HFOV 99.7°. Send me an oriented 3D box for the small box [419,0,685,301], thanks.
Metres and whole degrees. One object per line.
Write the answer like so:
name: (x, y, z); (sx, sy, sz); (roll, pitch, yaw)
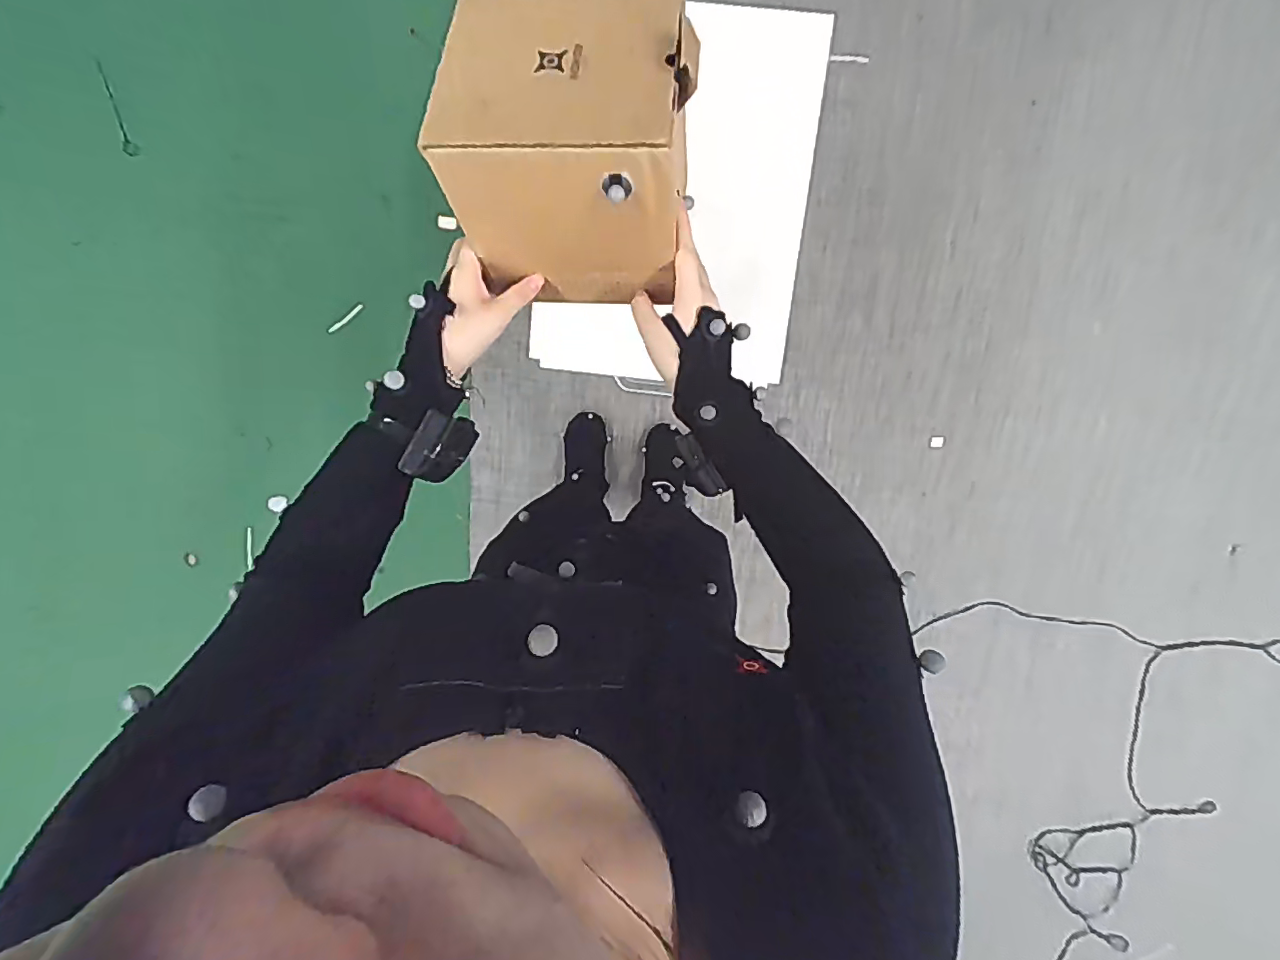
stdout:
small box: (-0.054, -0.274, 0.464); (0.179, 0.176, 0.168); (3, 70, 4)
